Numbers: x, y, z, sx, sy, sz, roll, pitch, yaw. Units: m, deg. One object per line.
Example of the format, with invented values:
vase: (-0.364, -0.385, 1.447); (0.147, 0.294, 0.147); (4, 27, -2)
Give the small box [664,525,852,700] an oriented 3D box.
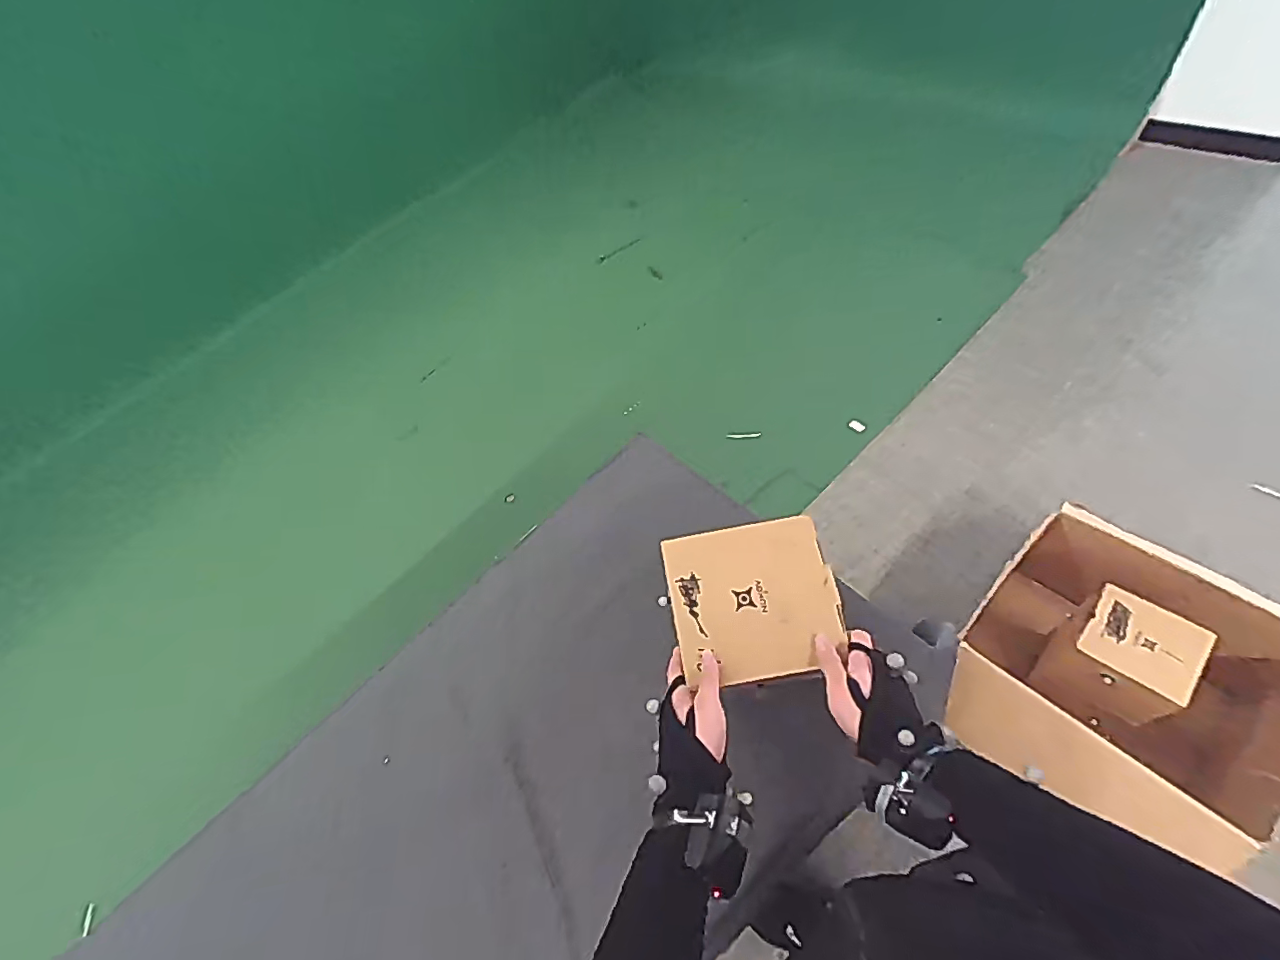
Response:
small box: (0.132, 0.170, 0.670); (0.179, 0.176, 0.168); (-12, 66, 1)
